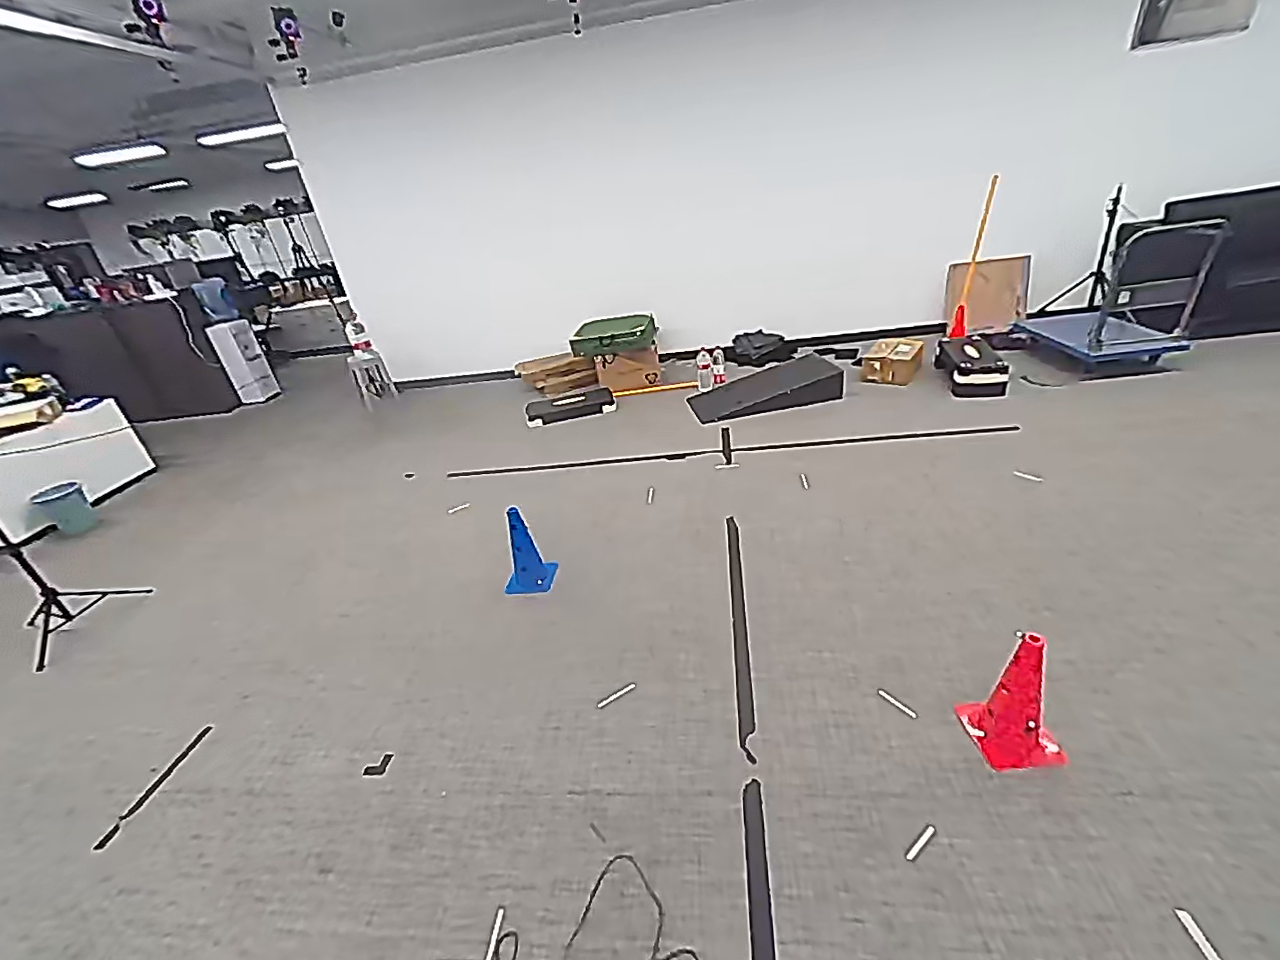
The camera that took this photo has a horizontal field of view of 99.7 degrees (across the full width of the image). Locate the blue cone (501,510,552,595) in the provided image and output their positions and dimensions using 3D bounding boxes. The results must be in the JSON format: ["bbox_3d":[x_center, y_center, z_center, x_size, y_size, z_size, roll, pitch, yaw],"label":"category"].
[{"bbox_3d":[-0.511,0.291,2.281,0.192,0.380,0.193,-5,28,10],"label":"blue cone"}]

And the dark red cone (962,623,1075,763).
[{"bbox_3d":[0.979,0.517,1.371,0.201,0.394,0.202,-9,28,2],"label":"dark red cone"}]
